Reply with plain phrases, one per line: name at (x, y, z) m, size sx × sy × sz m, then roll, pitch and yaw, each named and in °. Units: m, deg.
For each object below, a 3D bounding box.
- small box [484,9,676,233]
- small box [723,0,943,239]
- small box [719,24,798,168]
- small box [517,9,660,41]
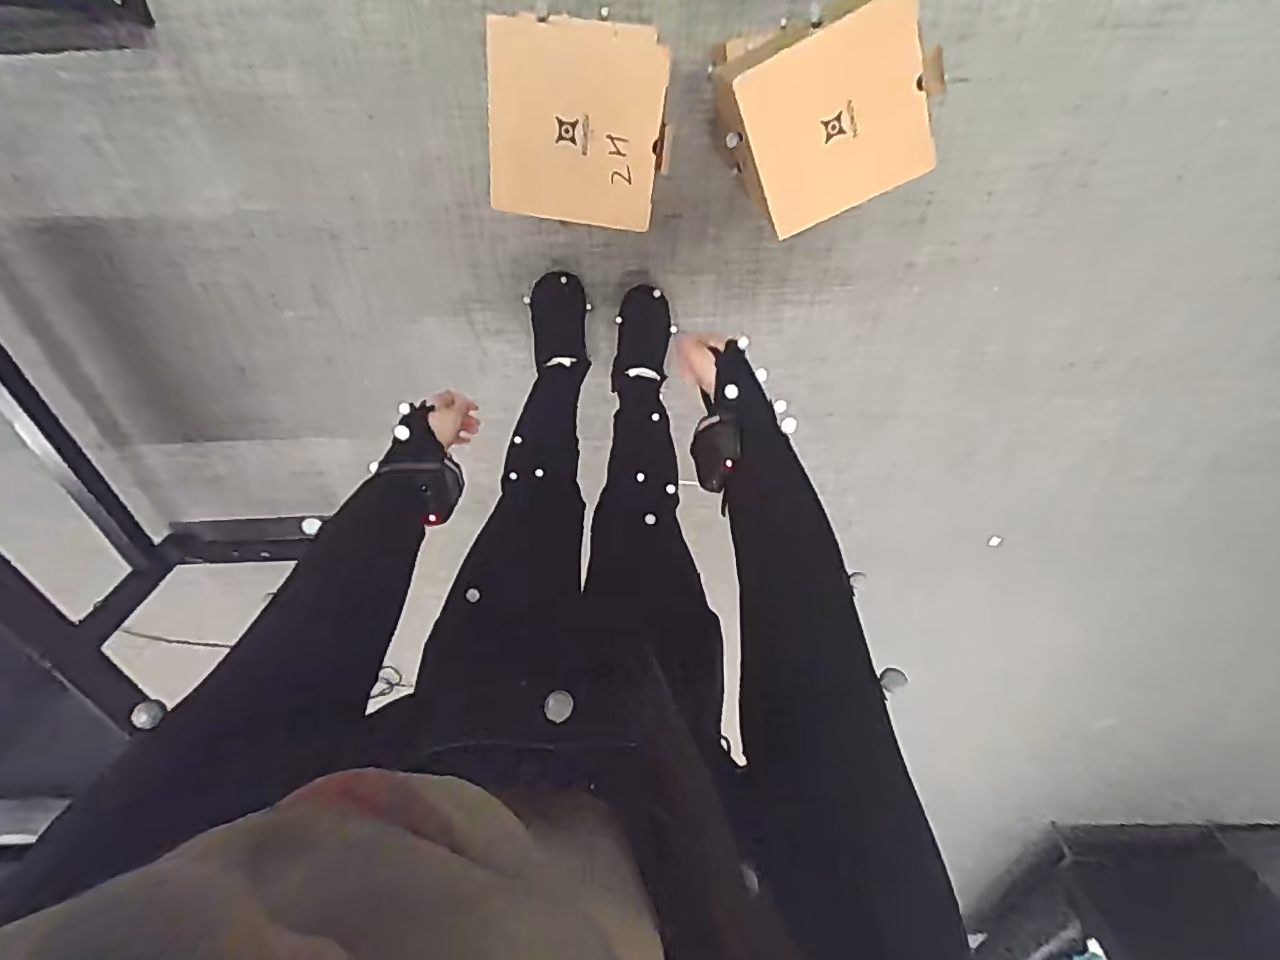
small box at (-0.063, -0.389, 0.596) m, size 0.179 × 0.176 × 0.168 m, roll 6°, pitch 127°, yaw -5°
small box at (0.200, -0.400, 0.596) m, size 0.179 × 0.176 × 0.168 m, roll -22°, pitch 126°, yaw 15°
small box at (0.220, -0.604, 0.850) m, size 0.179 × 0.176 × 0.168 m, roll -7°, pitch 128°, yaw 4°
small box at (-0.064, -0.499, 0.720) m, size 0.168 × 0.176 × 0.179 m, roll 4°, pitch 128°, yaw -3°
